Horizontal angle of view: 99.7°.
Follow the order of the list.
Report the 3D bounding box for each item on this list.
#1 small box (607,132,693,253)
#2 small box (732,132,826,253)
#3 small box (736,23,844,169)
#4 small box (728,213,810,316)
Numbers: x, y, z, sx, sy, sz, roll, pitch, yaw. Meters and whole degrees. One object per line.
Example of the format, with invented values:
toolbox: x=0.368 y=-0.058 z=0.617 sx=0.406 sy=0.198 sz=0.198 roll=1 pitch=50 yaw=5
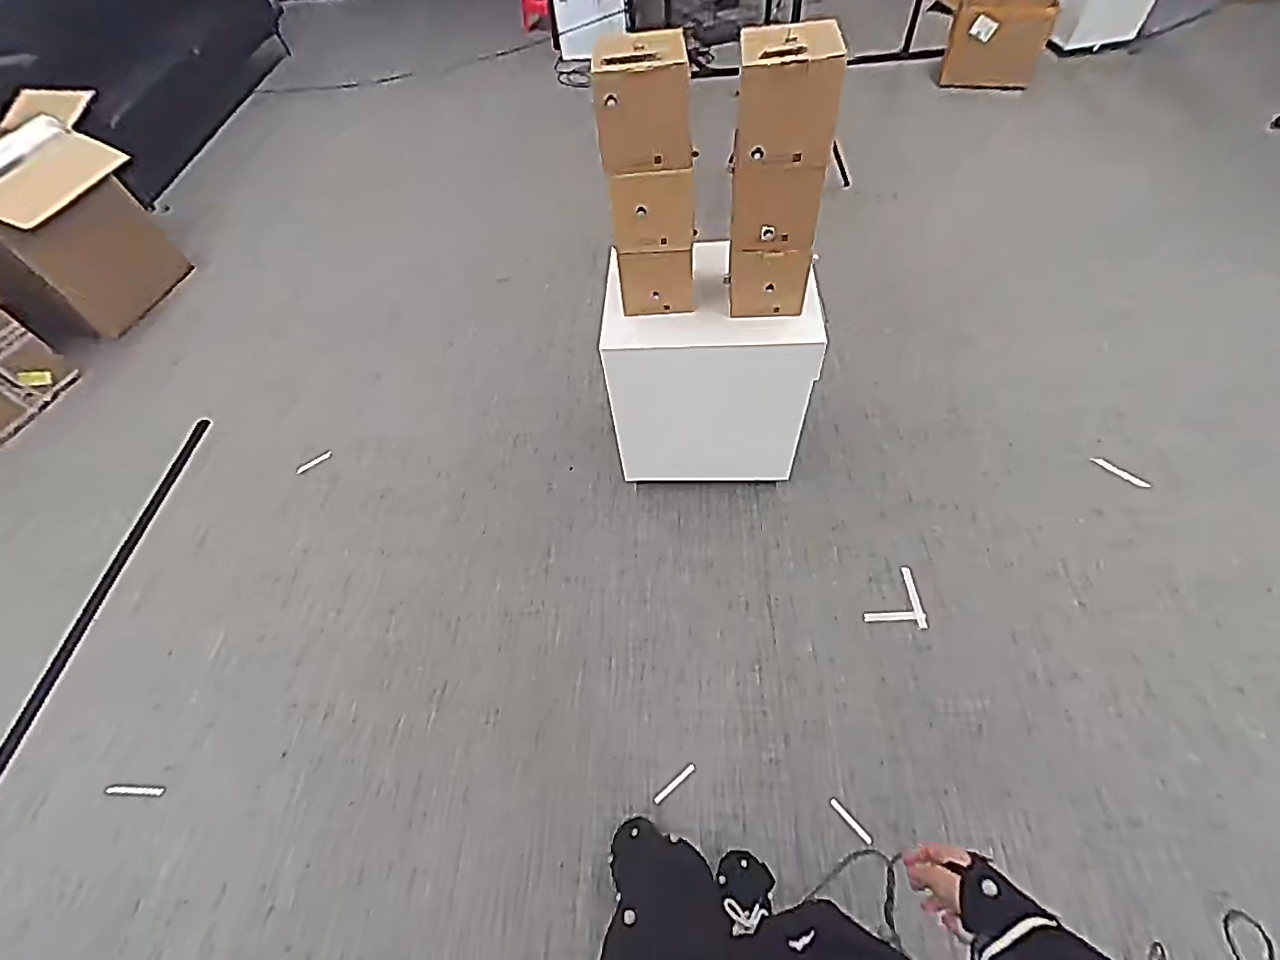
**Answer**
small box: x=0.027 y=-0.598 z=1.139 sx=0.168 sy=0.176 sz=0.179 roll=-1 pitch=55 yaw=4
small box: x=0.275 y=-0.592 z=1.110 sx=0.168 sy=0.176 sz=0.179 roll=-1 pitch=57 yaw=8
small box: x=0.260 y=-0.681 z=0.972 sx=0.168 sy=0.176 sz=0.179 roll=1 pitch=55 yaw=8
small box: x=0.289 y=-0.493 z=1.240 sx=0.168 sy=0.176 sz=0.179 roll=0 pitch=57 yaw=7
